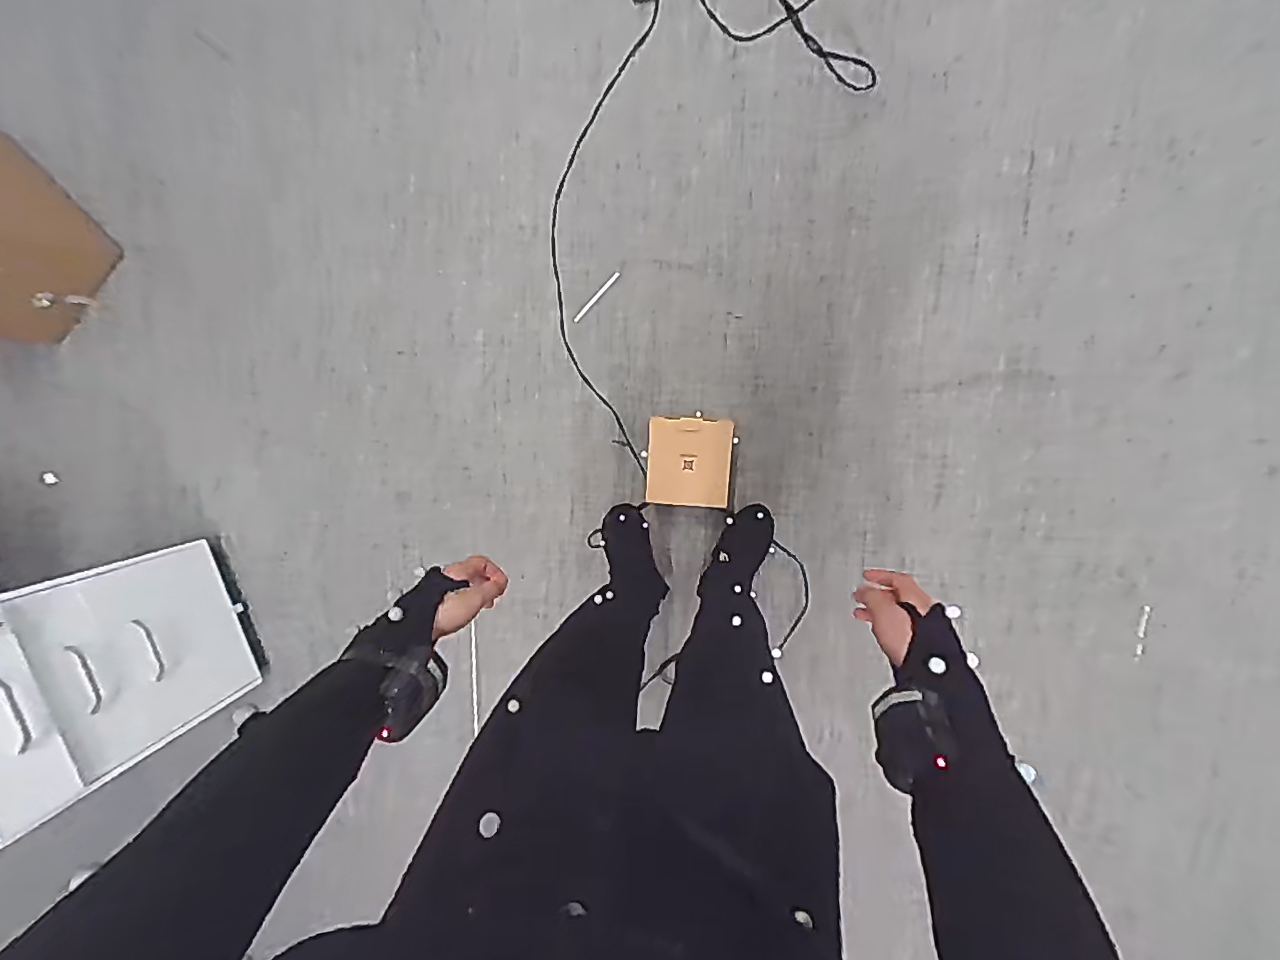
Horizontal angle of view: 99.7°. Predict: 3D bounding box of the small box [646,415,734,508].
[{"bbox_3d":[0.108,-0.046,1.154,0.168,0.176,0.179,4,98,6],"label":"small box"}]
